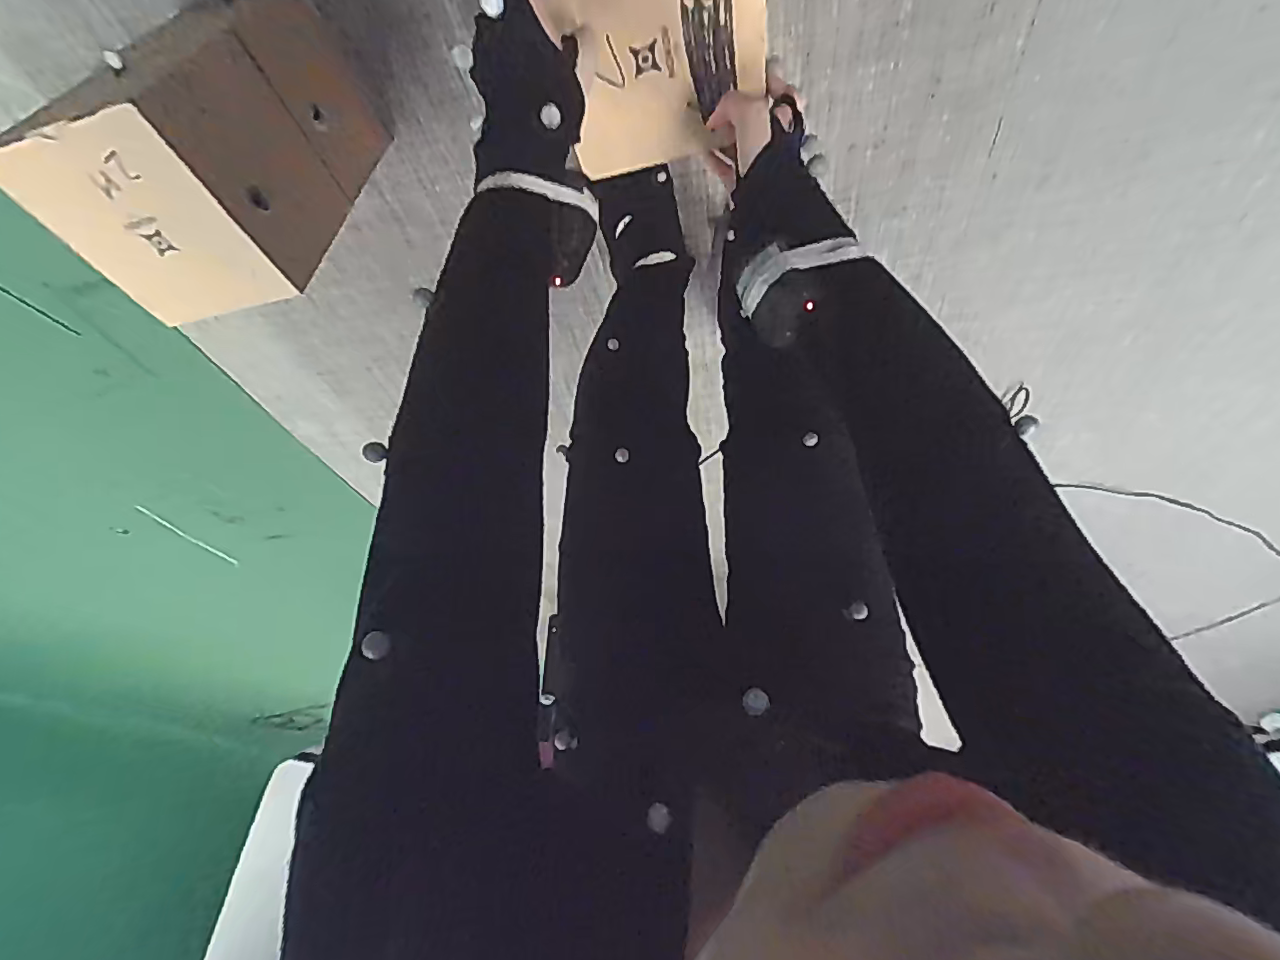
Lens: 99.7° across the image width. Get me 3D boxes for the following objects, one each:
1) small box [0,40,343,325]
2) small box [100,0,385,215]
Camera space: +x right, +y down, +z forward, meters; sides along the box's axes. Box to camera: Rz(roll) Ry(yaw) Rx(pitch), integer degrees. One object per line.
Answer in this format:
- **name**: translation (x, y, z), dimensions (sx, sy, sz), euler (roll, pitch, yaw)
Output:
- **small box**: translation (-0.437, -0.287, 0.537), dimensions (0.168, 0.176, 0.179), euler (-8, 144, 11)
- **small box**: translation (-0.433, -0.423, 0.630), dimensions (0.168, 0.176, 0.179), euler (-6, 143, 10)
